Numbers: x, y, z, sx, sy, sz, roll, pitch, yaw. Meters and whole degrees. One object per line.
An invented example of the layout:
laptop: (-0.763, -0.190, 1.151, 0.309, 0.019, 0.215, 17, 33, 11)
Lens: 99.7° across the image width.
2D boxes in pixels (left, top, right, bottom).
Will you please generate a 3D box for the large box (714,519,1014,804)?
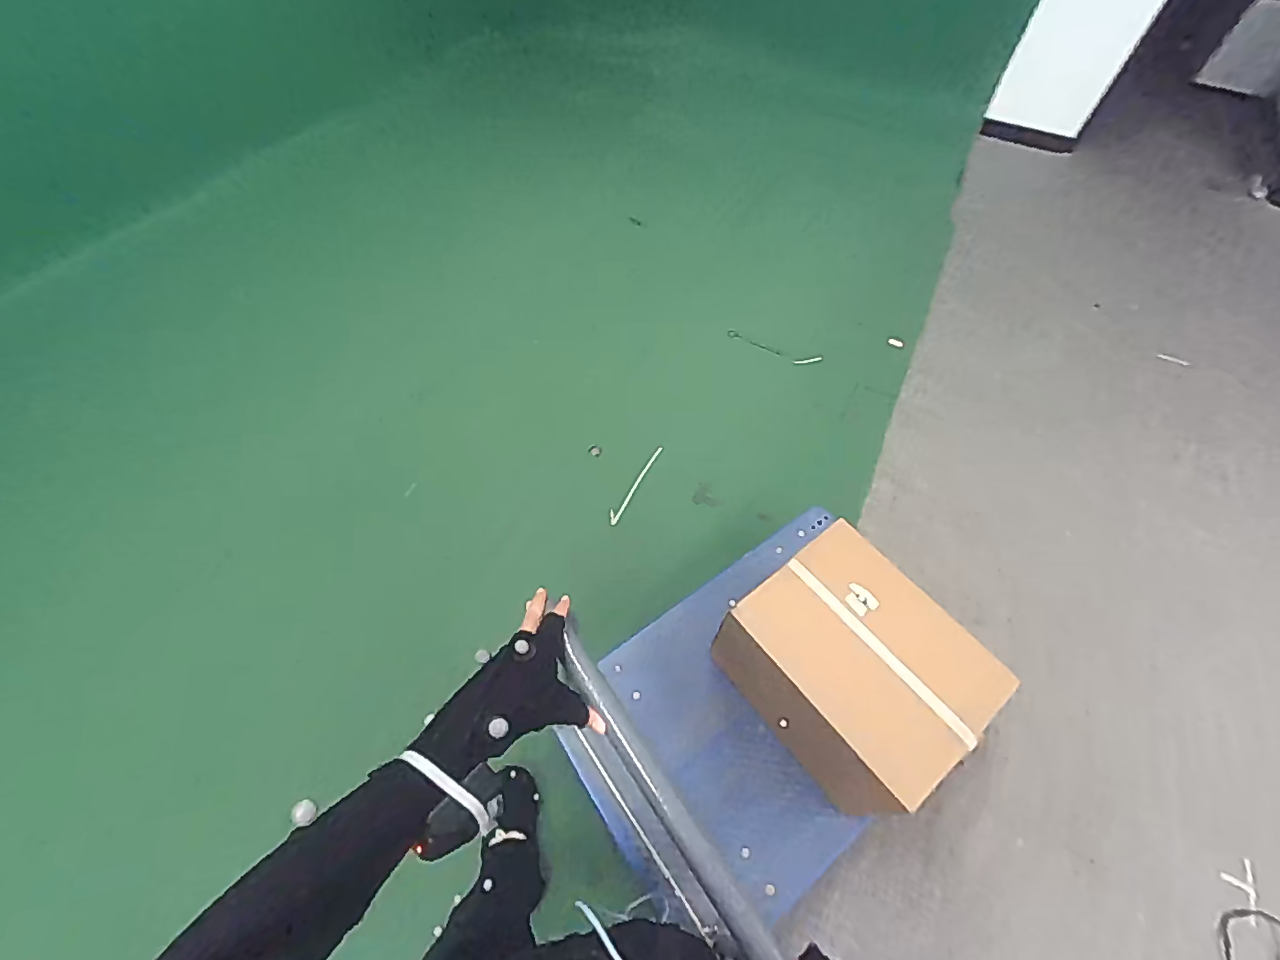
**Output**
large box: (0.406, 0.364, 1.085, 0.320, 0.320, 0.408, -34, 64, -21)
